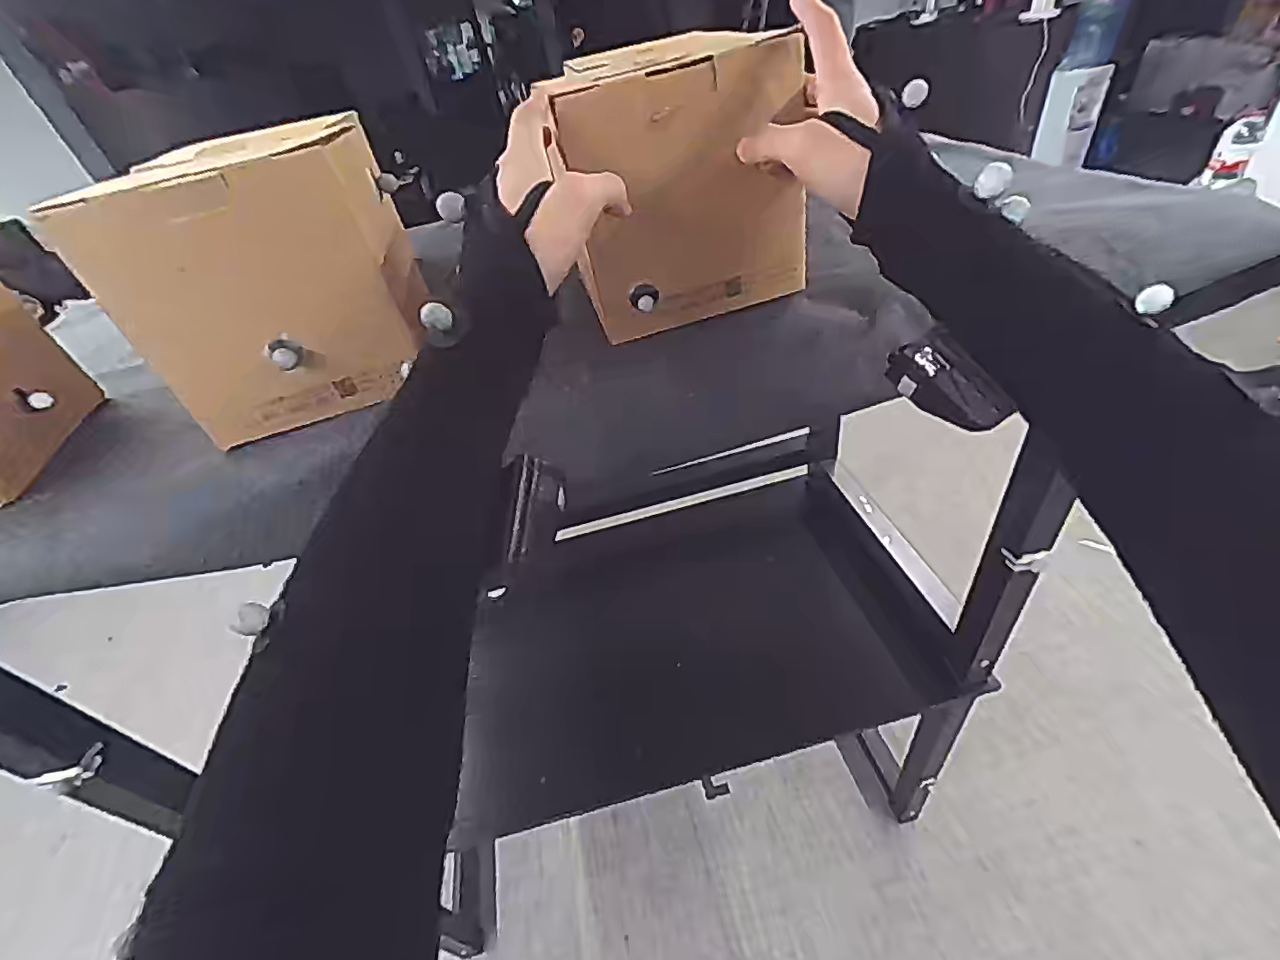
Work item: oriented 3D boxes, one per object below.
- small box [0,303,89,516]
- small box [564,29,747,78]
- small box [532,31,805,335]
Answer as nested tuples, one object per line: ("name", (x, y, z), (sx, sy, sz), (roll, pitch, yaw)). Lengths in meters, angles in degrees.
("small box", (-0.570, -0.055, 0.386), (0.168, 0.176, 0.179), (-20, 41, -8))
("small box", (0.021, -0.385, 0.613), (0.168, 0.176, 0.179), (-16, 41, -3))
("small box", (0.022, -0.235, 0.438), (0.168, 0.176, 0.179), (-17, 40, -3))
